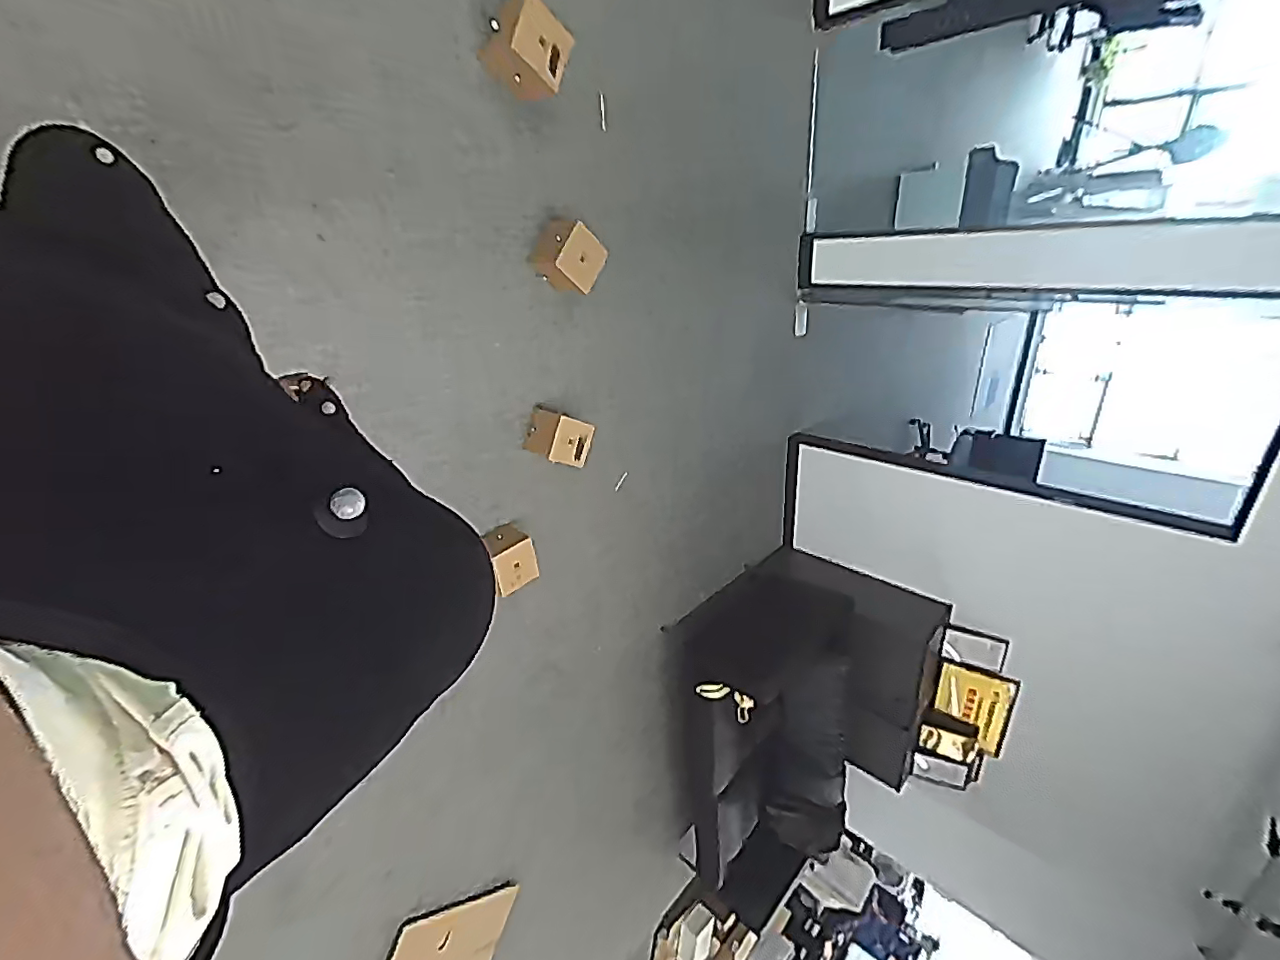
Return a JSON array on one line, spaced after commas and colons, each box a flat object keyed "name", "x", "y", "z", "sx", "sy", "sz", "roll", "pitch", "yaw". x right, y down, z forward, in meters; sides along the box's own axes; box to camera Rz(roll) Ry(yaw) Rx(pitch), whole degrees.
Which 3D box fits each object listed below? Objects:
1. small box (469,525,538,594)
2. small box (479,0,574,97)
[{"name": "small box", "x": -0.503, "y": 0.282, "z": 1.980, "sx": 0.168, "sy": 0.176, "sz": 0.179, "roll": -29, "pitch": 125, "yaw": -37}, {"name": "small box", "x": -0.329, "y": -1.249, "z": 1.563, "sx": 0.179, "sy": 0.176, "sz": 0.168, "roll": 18, "pitch": 91, "yaw": -49}]
